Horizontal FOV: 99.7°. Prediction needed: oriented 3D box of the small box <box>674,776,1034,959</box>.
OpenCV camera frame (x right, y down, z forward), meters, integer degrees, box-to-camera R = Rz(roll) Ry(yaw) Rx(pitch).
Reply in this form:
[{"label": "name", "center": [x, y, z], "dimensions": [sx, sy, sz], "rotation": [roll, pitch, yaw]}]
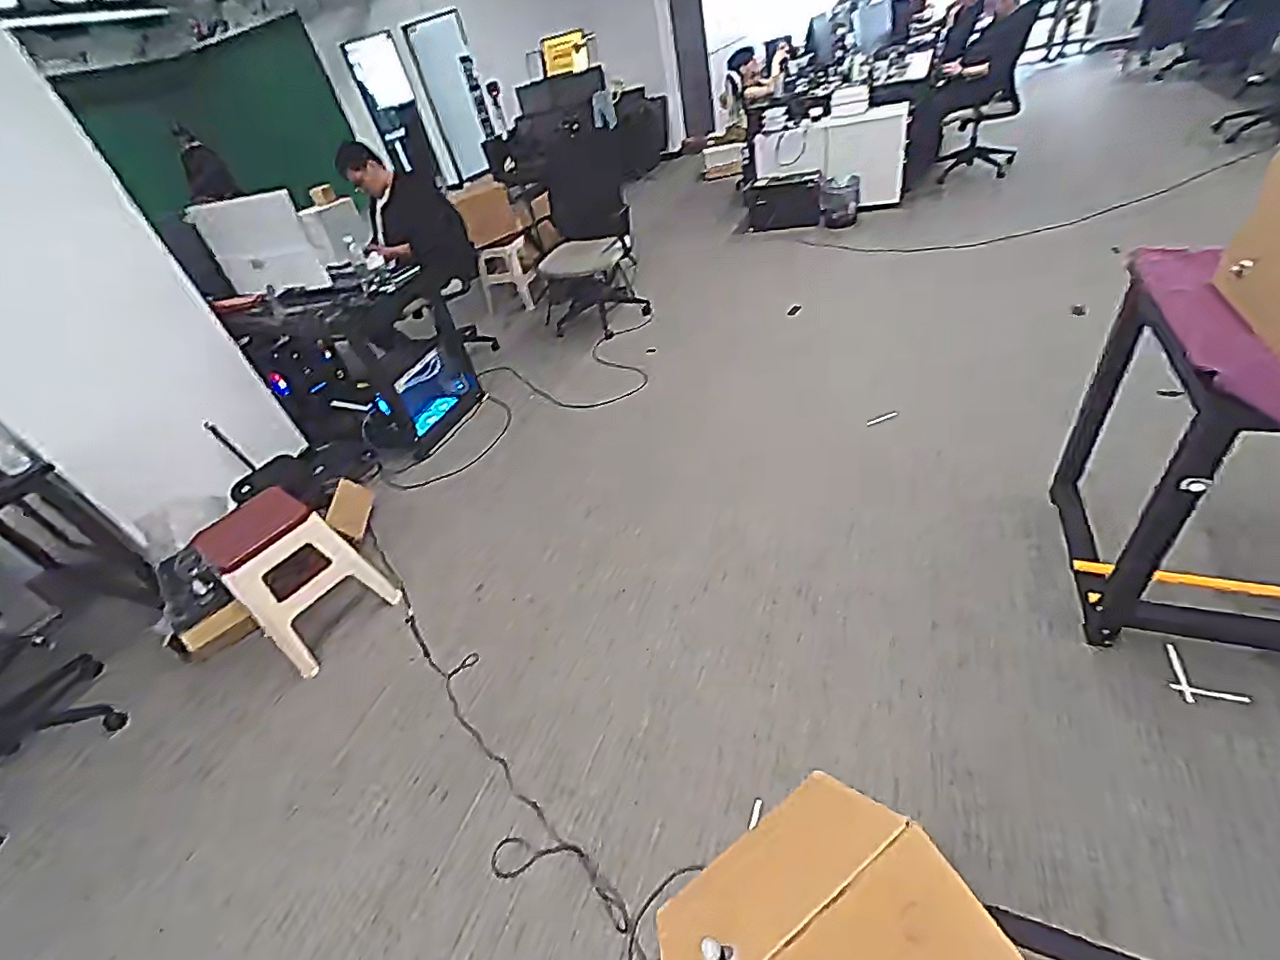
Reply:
[{"label": "small box", "center": [0.136, 0.323, 0.340], "dimensions": [0.179, 0.176, 0.168], "rotation": [-35, 75, -10]}]
